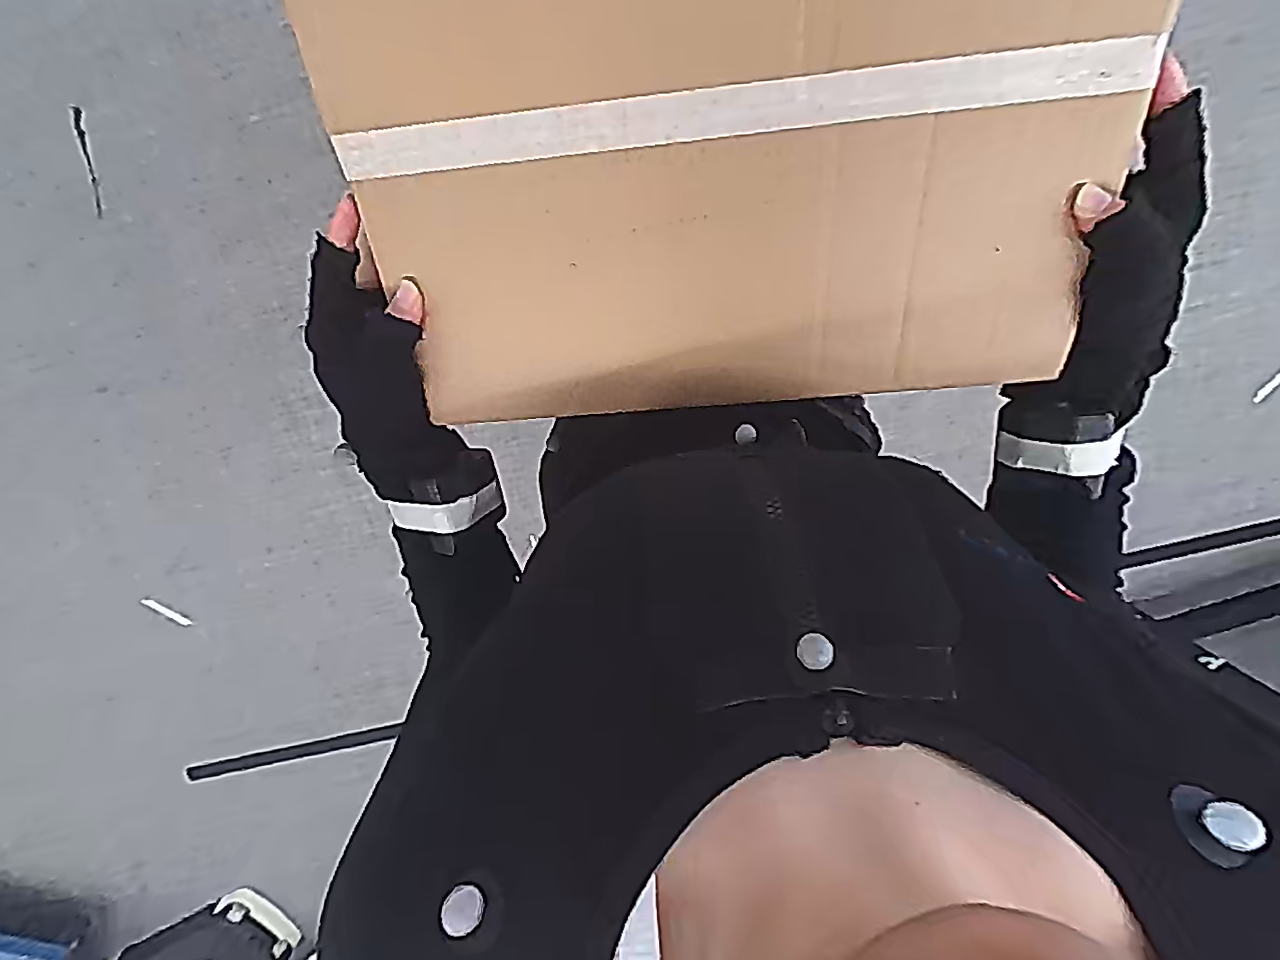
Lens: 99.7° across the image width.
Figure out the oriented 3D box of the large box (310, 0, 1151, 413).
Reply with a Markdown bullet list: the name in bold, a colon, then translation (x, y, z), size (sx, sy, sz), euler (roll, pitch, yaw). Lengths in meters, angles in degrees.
- **large box**: translation (0.045, -0.266, 0.409), size (0.408, 0.320, 0.320), euler (-4, 122, 4)
